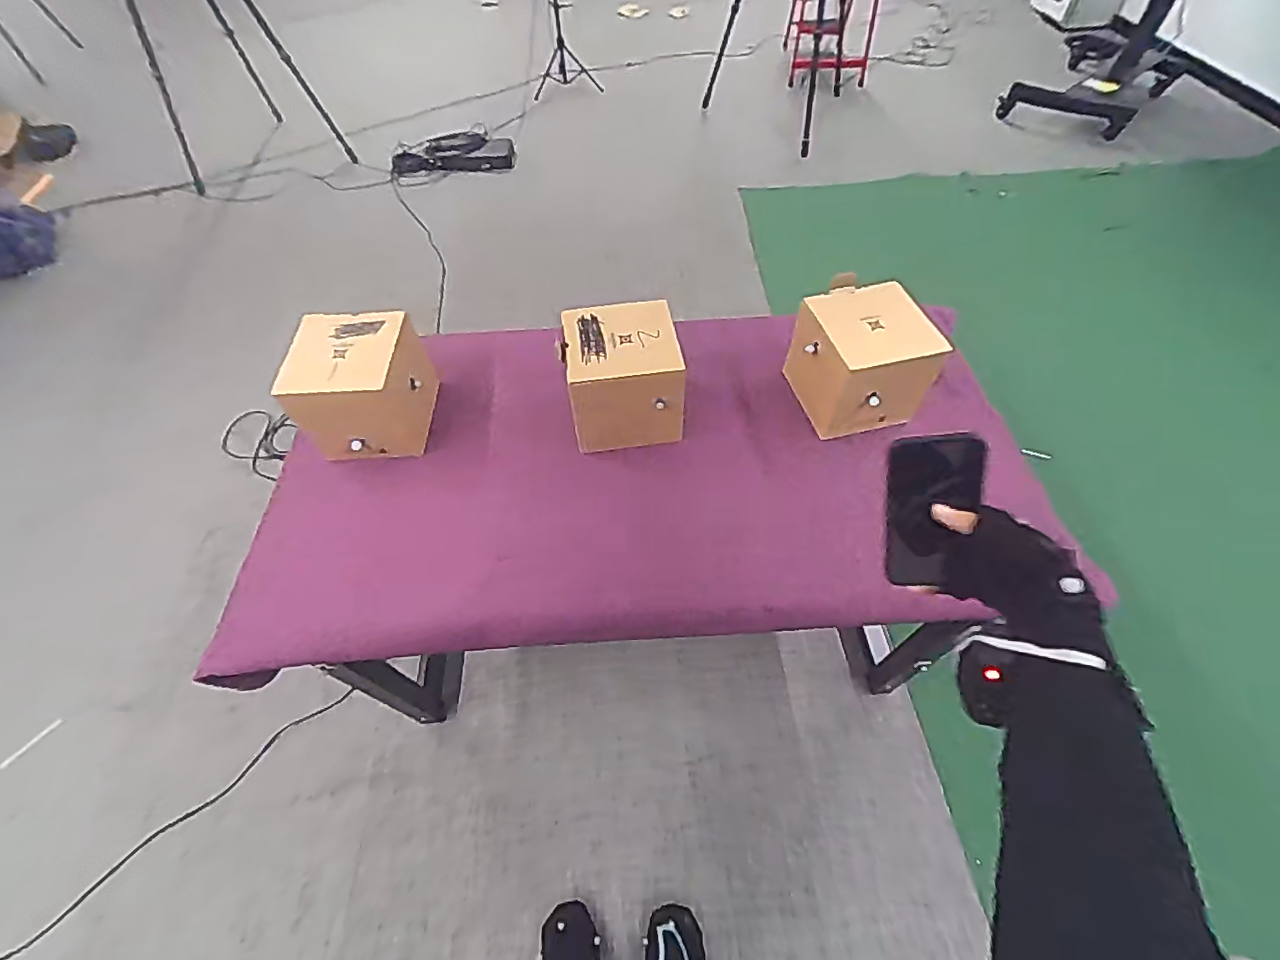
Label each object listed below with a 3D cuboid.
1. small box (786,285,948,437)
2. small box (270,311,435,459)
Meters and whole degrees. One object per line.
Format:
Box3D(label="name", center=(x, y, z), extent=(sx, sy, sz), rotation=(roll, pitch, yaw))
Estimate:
Box3D(label="small box", center=(0.360, -0.189, 0.898), extent=(0.168, 0.176, 0.179), rotation=(-12, 55, -6))
Box3D(label="small box", center=(-0.453, -0.153, 0.889), extent=(0.168, 0.176, 0.179), rotation=(-2, 57, 0))
